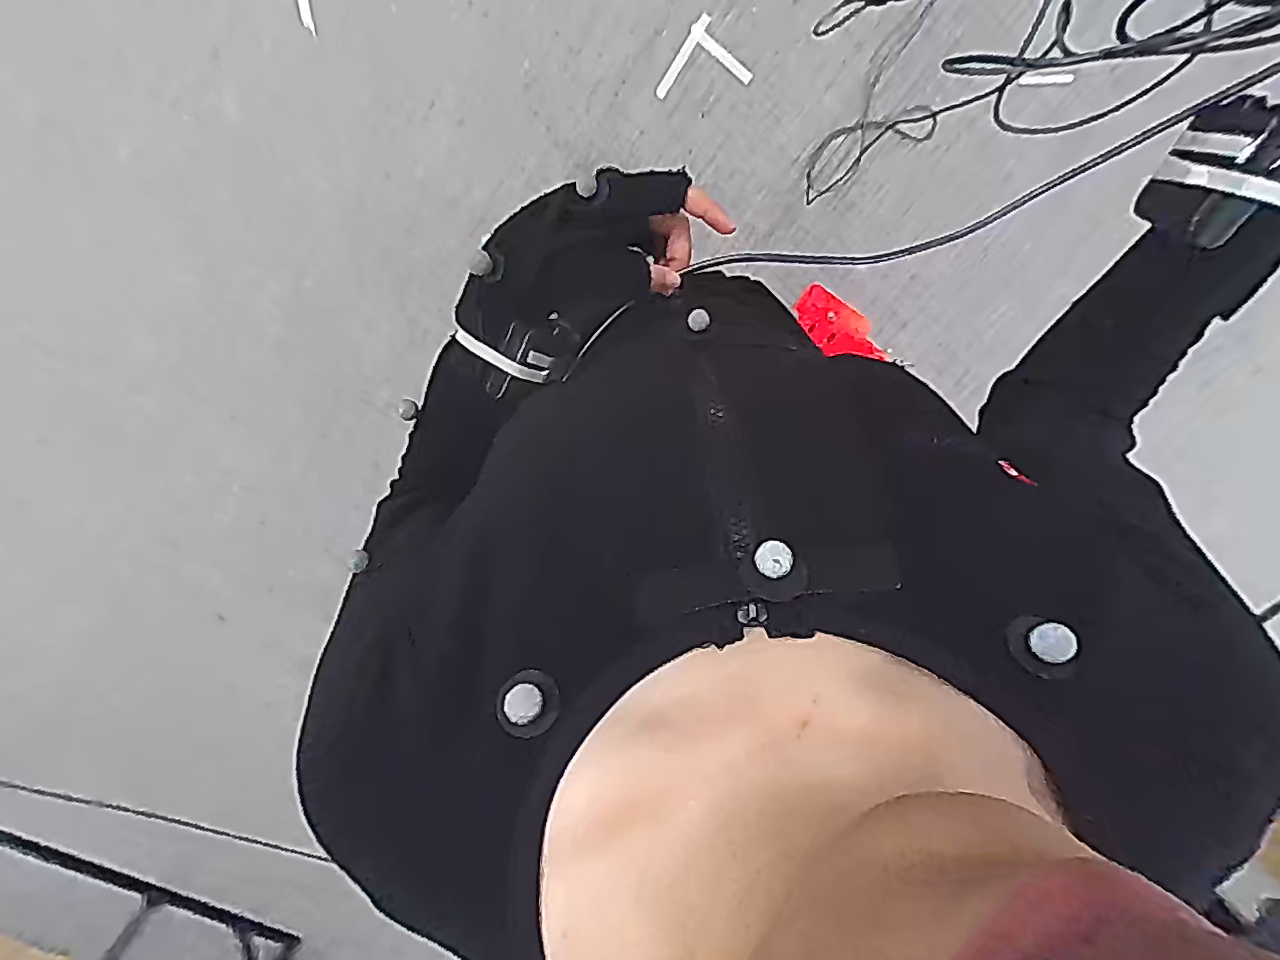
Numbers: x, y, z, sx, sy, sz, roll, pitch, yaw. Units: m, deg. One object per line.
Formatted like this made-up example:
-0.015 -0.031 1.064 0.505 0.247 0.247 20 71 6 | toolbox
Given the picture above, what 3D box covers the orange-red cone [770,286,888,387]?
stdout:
0.459 -0.291 1.204 0.199 0.360 0.198 30 109 -14 | orange-red cone
